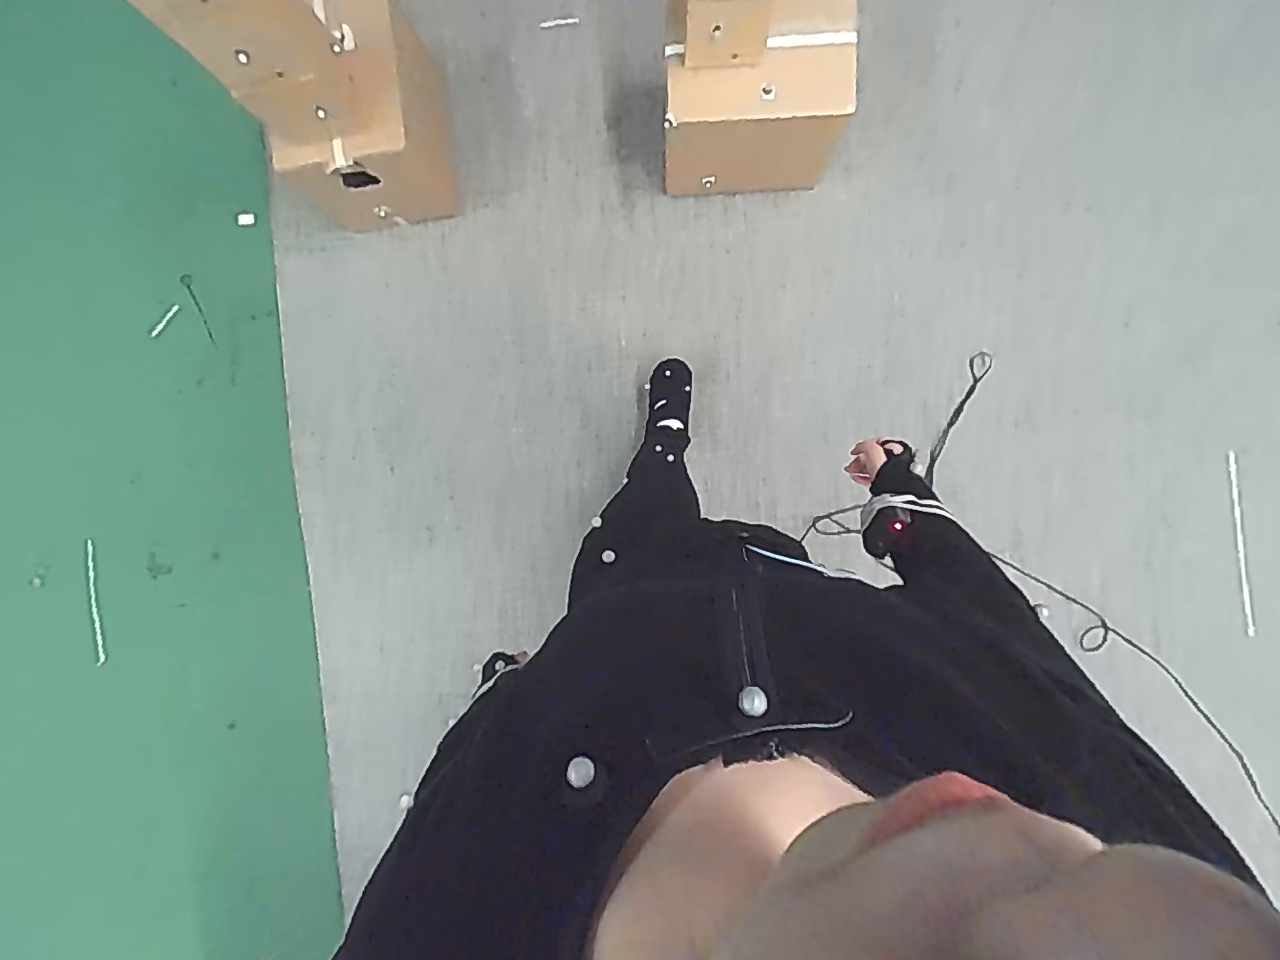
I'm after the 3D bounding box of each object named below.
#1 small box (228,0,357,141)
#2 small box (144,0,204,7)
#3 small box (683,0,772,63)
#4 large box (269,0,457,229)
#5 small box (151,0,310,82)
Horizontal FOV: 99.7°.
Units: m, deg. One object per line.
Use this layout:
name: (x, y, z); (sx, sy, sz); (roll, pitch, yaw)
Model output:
small box: (-0.711, -0.841, 1.117); (0.179, 0.176, 0.168); (-8, 89, 4)
small box: (-0.728, -0.844, 0.788); (0.168, 0.176, 0.179); (-10, 90, 3)
small box: (0.171, -0.965, 1.068); (0.168, 0.176, 0.179); (0, 88, 3)
large box: (-0.689, -0.915, 1.358); (0.320, 0.320, 0.408); (-7, 89, 3)
small box: (-0.720, -0.846, 0.953); (0.168, 0.176, 0.179); (-12, 89, 3)
